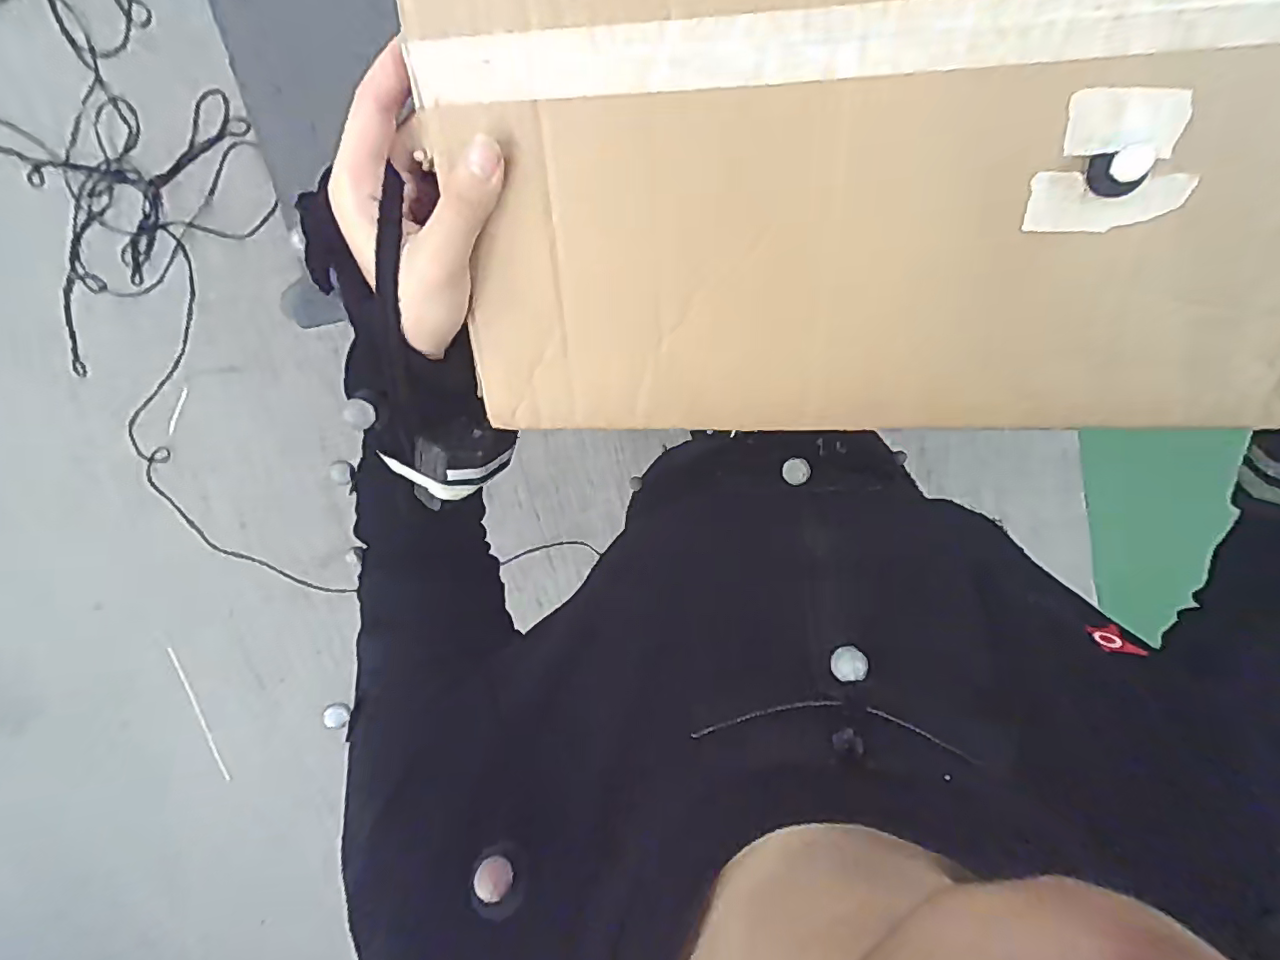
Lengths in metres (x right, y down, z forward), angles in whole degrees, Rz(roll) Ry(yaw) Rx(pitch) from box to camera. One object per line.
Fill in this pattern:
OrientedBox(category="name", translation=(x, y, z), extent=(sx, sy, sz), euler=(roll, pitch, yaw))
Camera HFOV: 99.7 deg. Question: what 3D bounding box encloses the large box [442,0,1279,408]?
OrientedBox(category="large box", translation=(0.129, -0.250, 0.331), extent=(0.408, 0.320, 0.320), euler=(-1, 121, 5))
